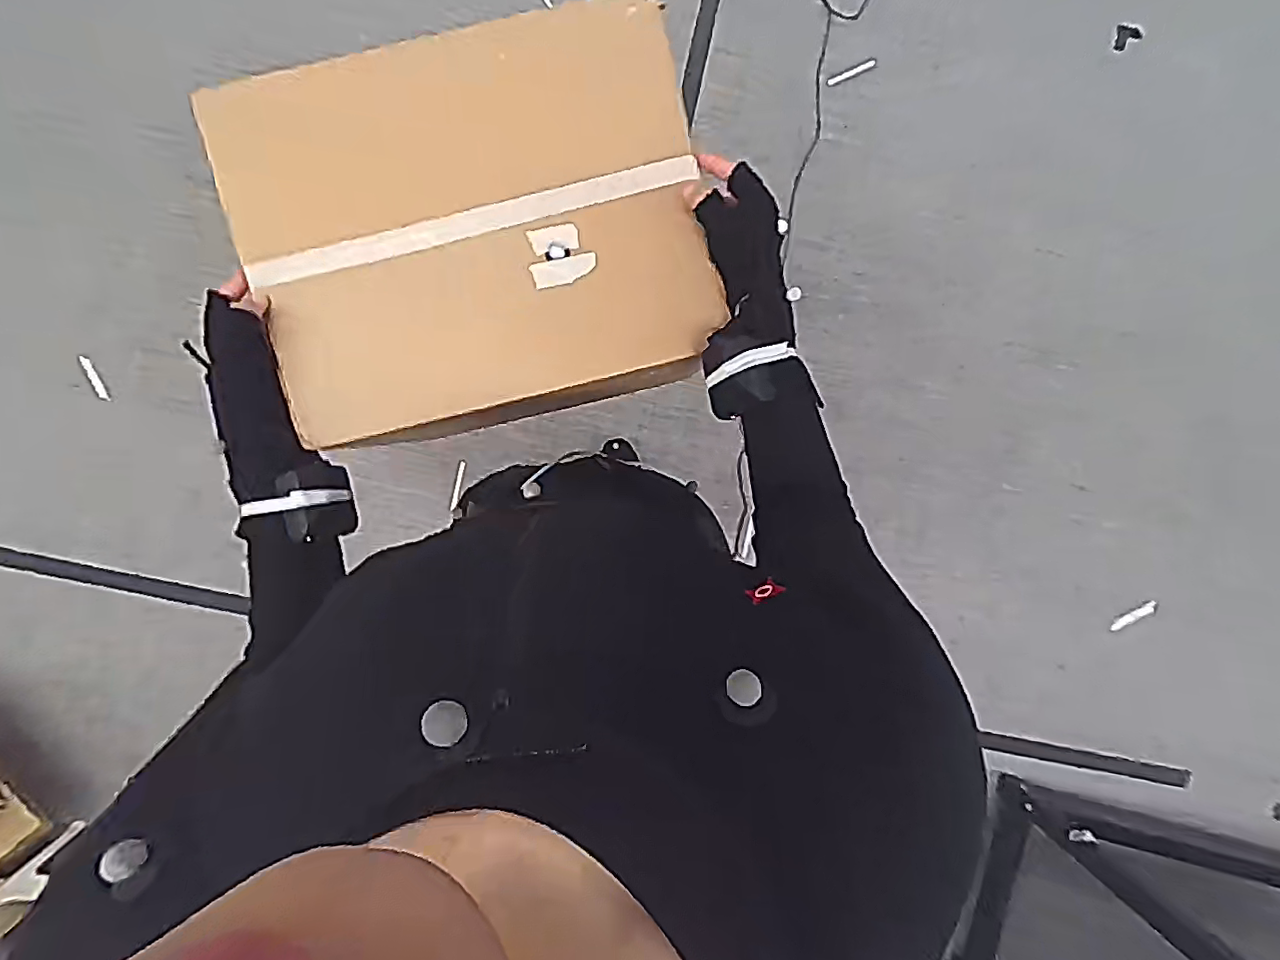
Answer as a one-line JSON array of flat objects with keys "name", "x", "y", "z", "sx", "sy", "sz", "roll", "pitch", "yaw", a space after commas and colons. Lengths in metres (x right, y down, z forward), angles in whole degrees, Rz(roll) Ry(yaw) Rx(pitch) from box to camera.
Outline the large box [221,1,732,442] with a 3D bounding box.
[{"name": "large box", "x": -0.146, "y": -0.241, "z": 0.633, "sx": 0.408, "sy": 0.320, "sz": 0.320, "roll": -13, "pitch": 97, "yaw": -1}]
